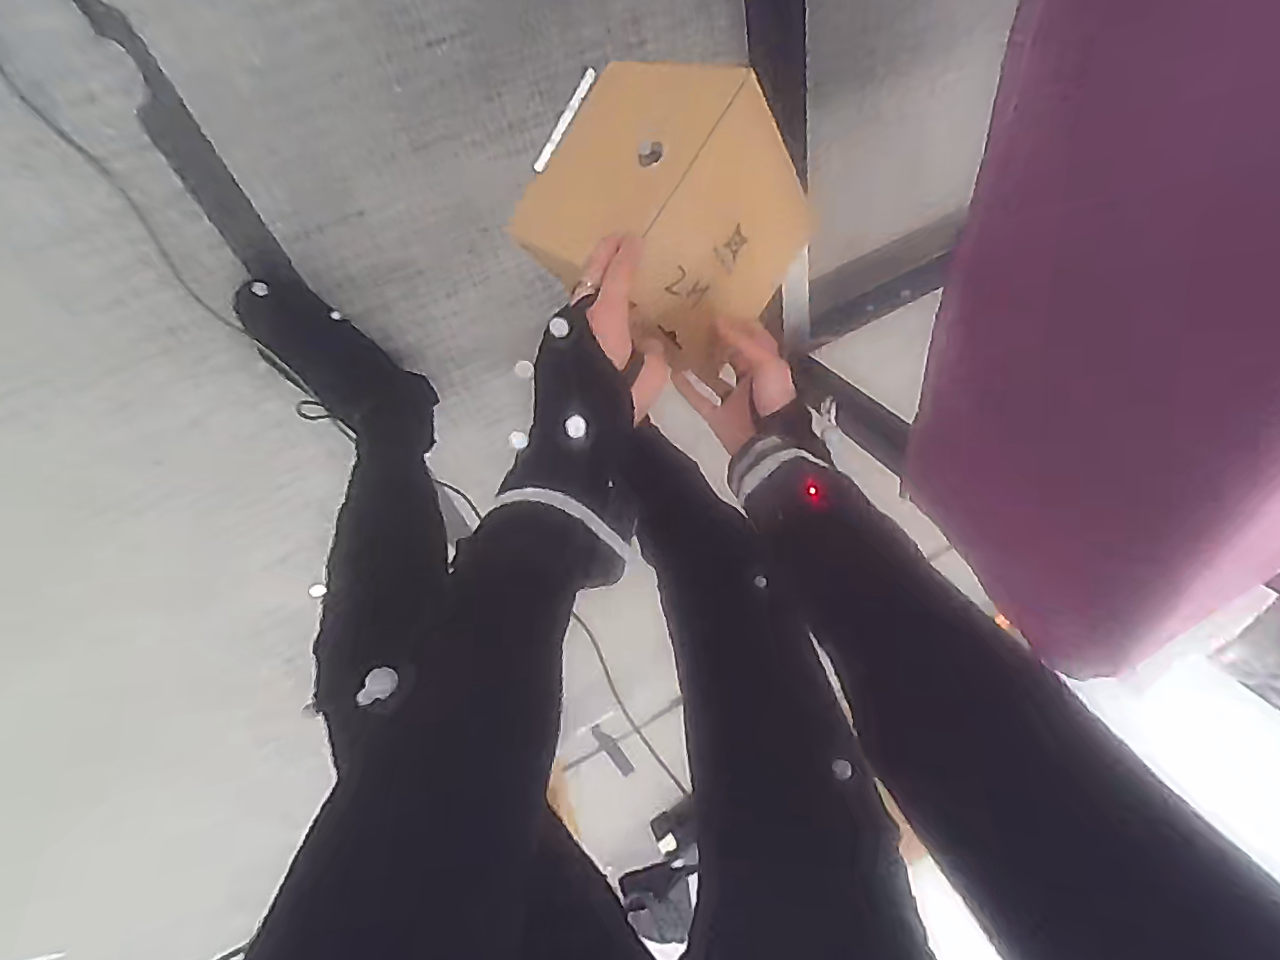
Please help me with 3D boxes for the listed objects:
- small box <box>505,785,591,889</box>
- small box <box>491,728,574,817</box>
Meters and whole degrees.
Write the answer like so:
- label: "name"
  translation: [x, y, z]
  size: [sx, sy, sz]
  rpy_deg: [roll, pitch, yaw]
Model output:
- label: "small box"
  translation: [-0.251, 0.966, 1.471]
  size: [0.168, 0.176, 0.179]
  rpy_deg: [-24, 134, -9]
- label: "small box"
  translation: [-0.320, 0.864, 1.577]
  size: [0.179, 0.176, 0.168]
  rpy_deg: [-28, 135, -6]
